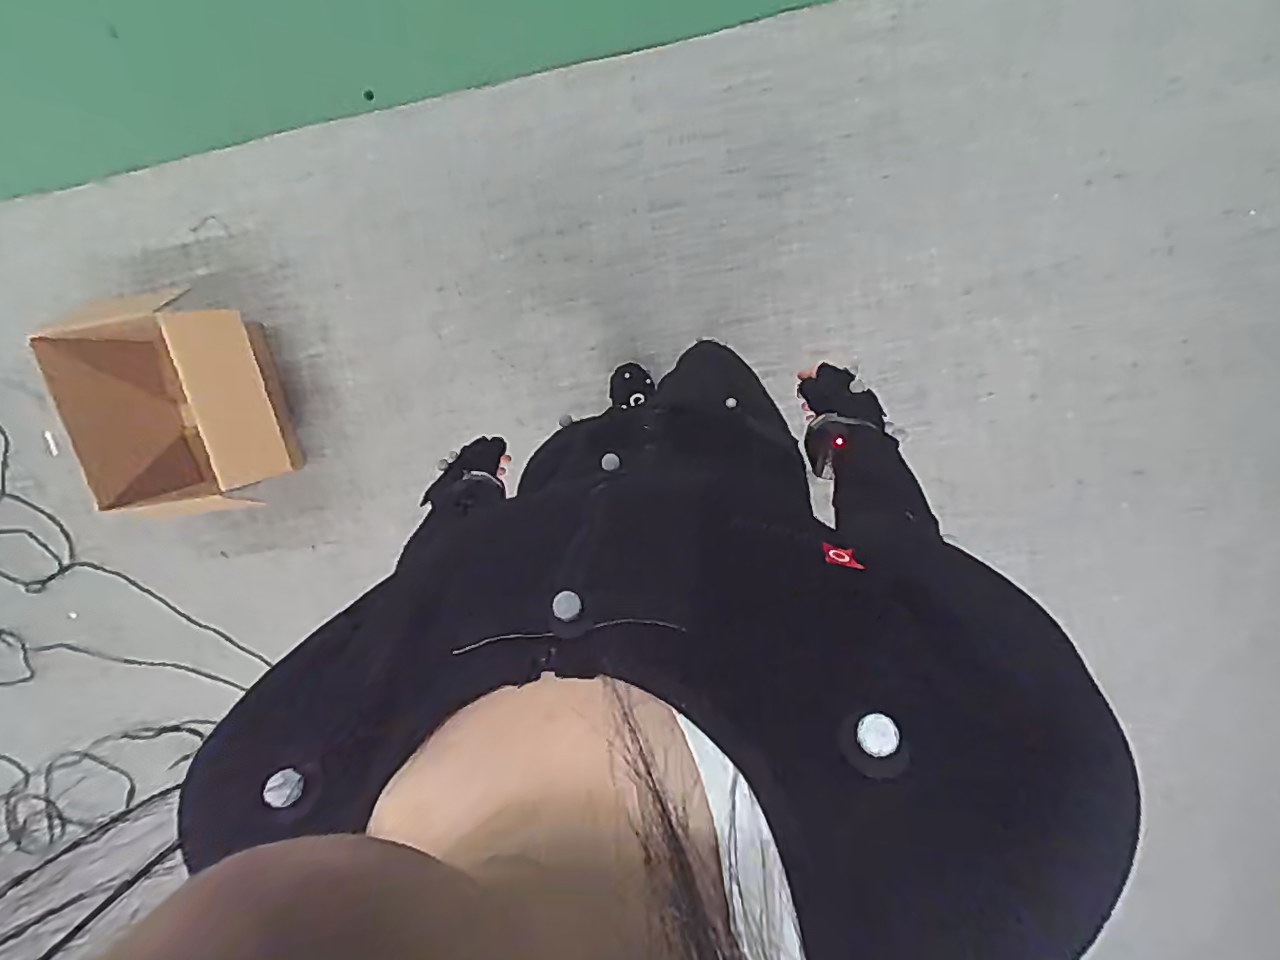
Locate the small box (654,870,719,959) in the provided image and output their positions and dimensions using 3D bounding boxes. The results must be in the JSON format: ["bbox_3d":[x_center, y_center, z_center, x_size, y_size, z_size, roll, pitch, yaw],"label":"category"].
[{"bbox_3d":[0.144,1.377,1.705,0.179,0.176,0.168,-12,101,4],"label":"small box"}]
